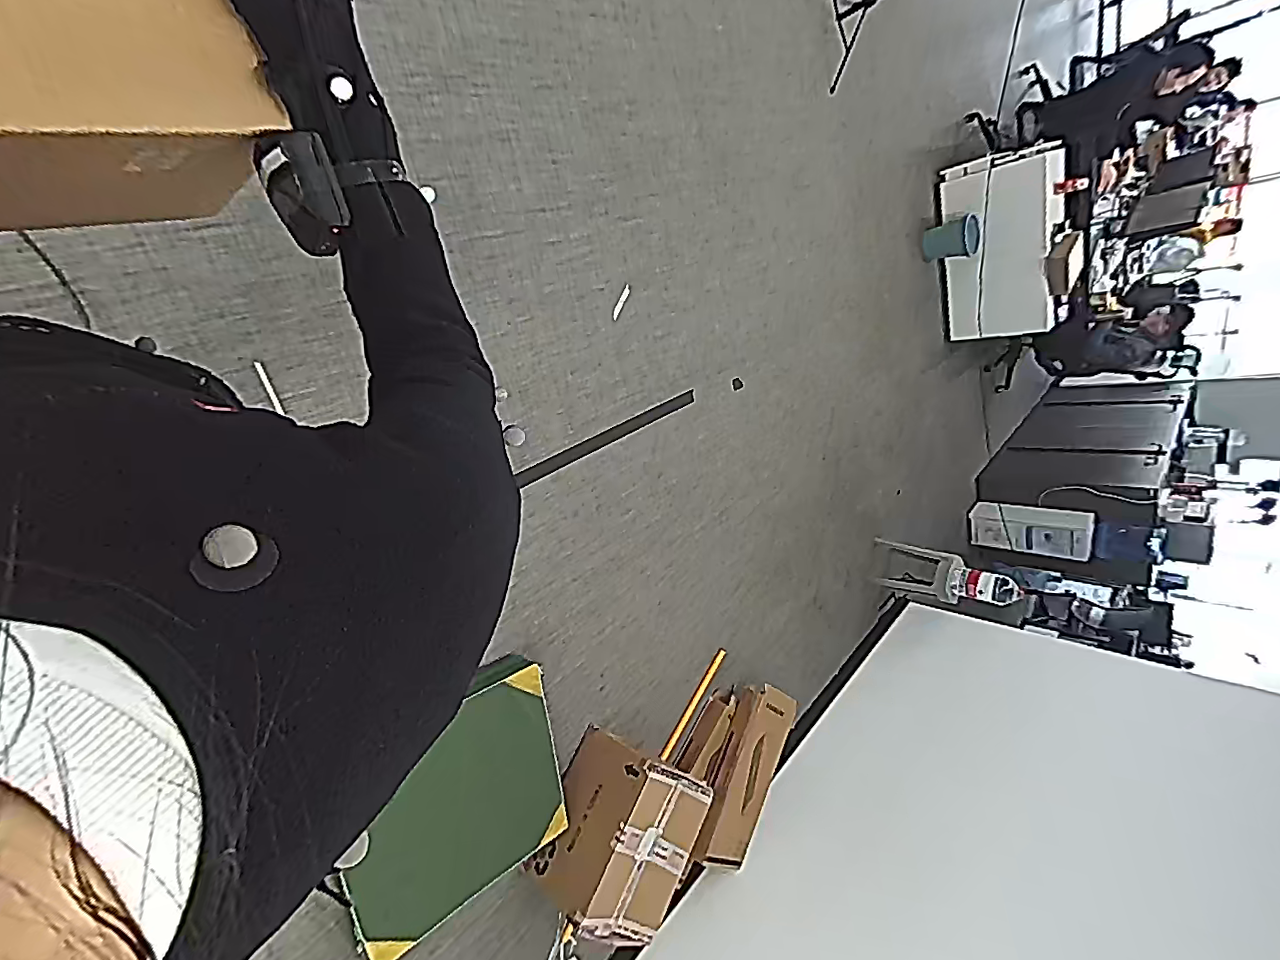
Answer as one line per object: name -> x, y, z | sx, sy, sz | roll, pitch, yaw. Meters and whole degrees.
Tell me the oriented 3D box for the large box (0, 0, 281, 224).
large box -> -0.505, -0.318, 0.282 | 0.408, 0.320, 0.320 | -30, 121, -39
